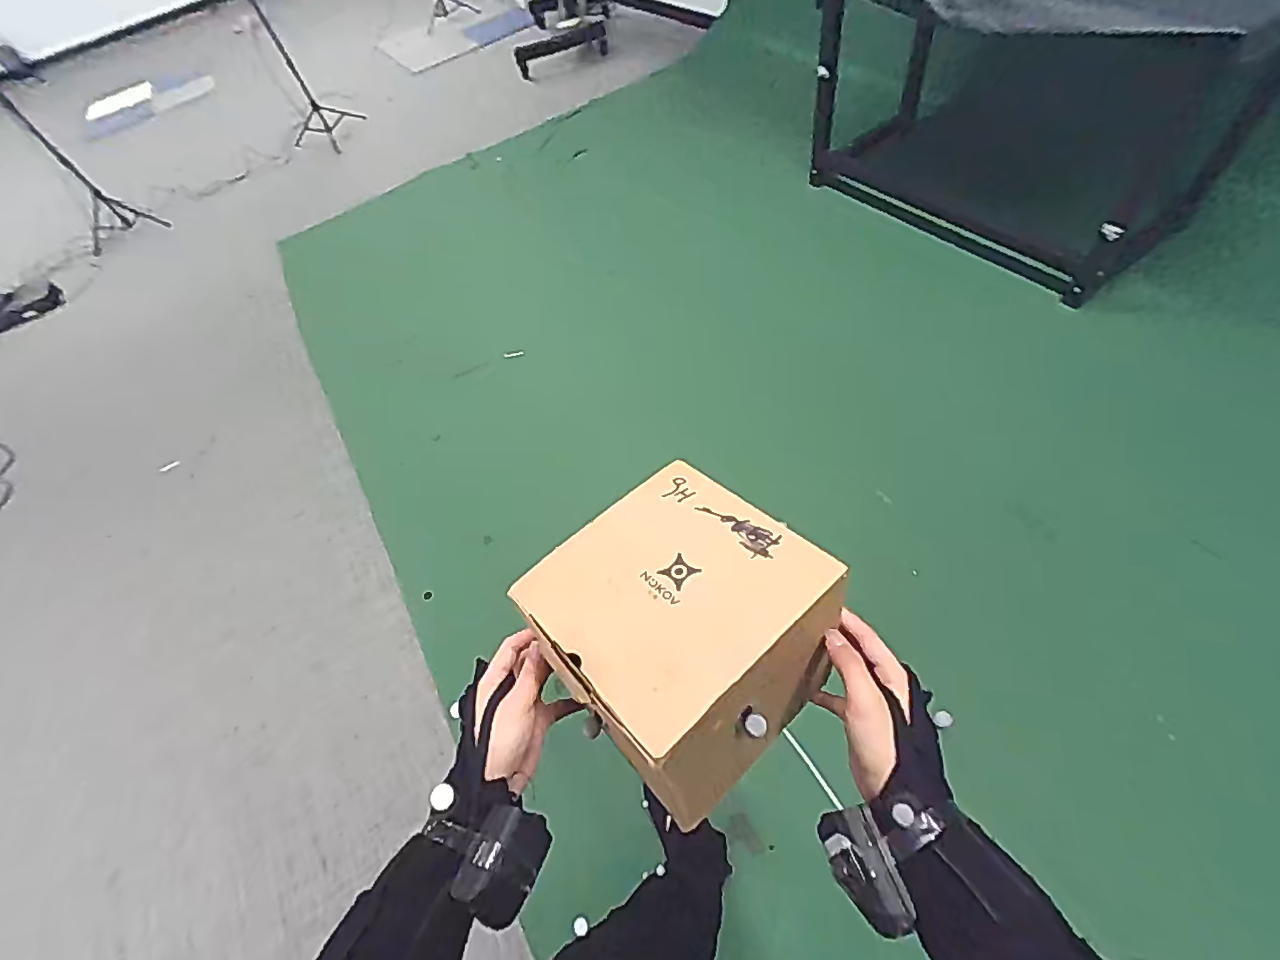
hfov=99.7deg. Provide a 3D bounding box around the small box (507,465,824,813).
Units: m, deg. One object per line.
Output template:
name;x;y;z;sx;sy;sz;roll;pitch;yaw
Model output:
small box;0.029;0.127;0.440;0.179;0.176;0.168;-37;49;-21
